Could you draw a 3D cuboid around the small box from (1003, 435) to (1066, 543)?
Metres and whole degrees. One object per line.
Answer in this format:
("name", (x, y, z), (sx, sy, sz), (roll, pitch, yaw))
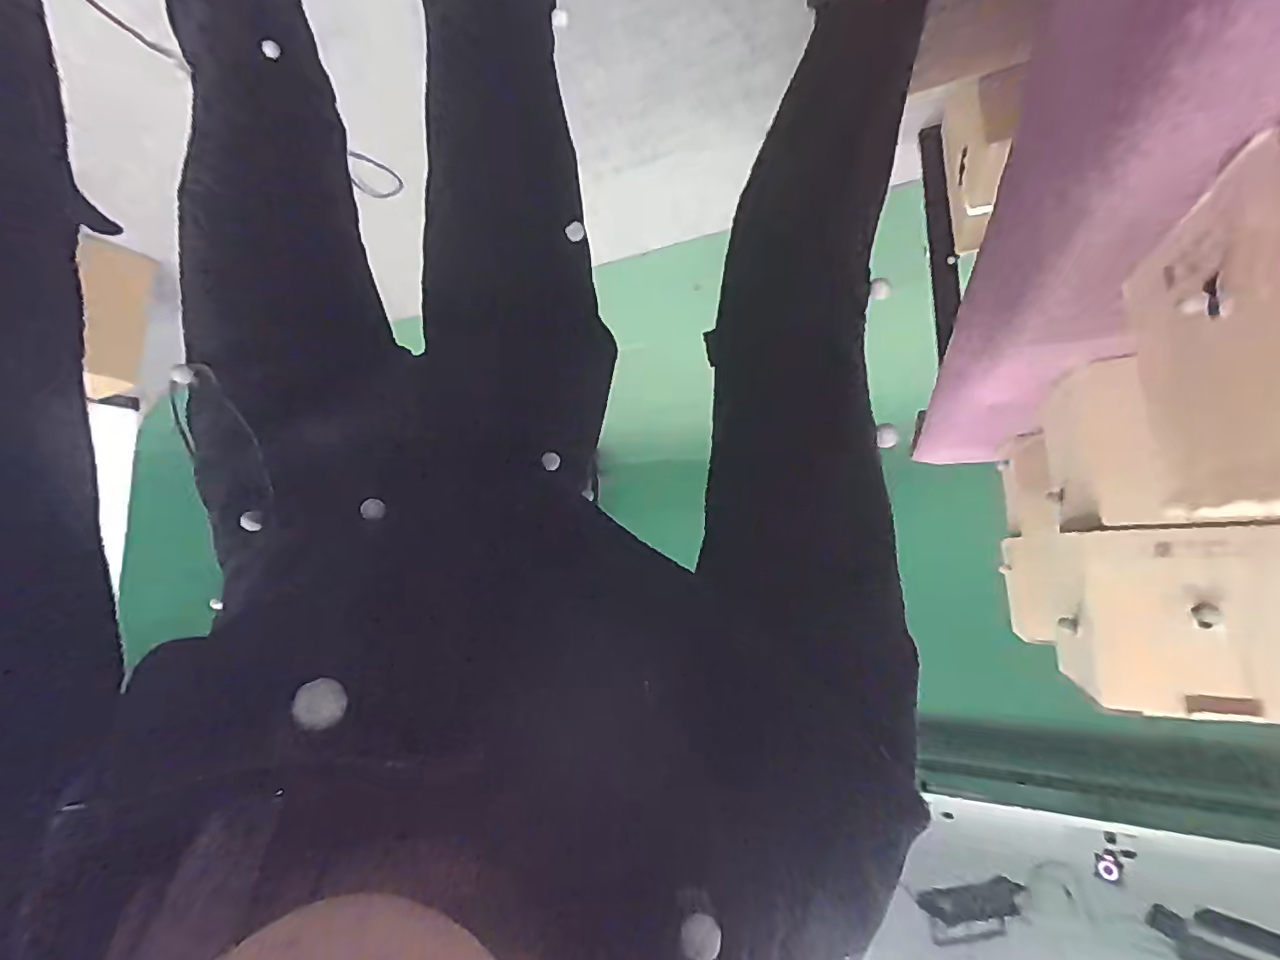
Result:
("small box", (0.717, 0.015, 0.883), (0.179, 0.176, 0.168), (-6, 169, 27))

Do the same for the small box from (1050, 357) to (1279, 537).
("small box", (0.549, -0.029, 0.560), (0.168, 0.176, 0.179), (-6, 170, 26))

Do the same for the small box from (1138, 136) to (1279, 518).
("small box", (0.384, -0.074, 0.252), (0.179, 0.176, 0.168), (-5, 171, 25))

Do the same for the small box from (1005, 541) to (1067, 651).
("small box", (0.717, 0.180, 0.877), (0.179, 0.176, 0.168), (-6, 168, 27))

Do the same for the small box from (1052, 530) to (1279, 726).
("small box", (0.535, 0.134, 0.539), (0.168, 0.176, 0.179), (-6, 170, 27))
